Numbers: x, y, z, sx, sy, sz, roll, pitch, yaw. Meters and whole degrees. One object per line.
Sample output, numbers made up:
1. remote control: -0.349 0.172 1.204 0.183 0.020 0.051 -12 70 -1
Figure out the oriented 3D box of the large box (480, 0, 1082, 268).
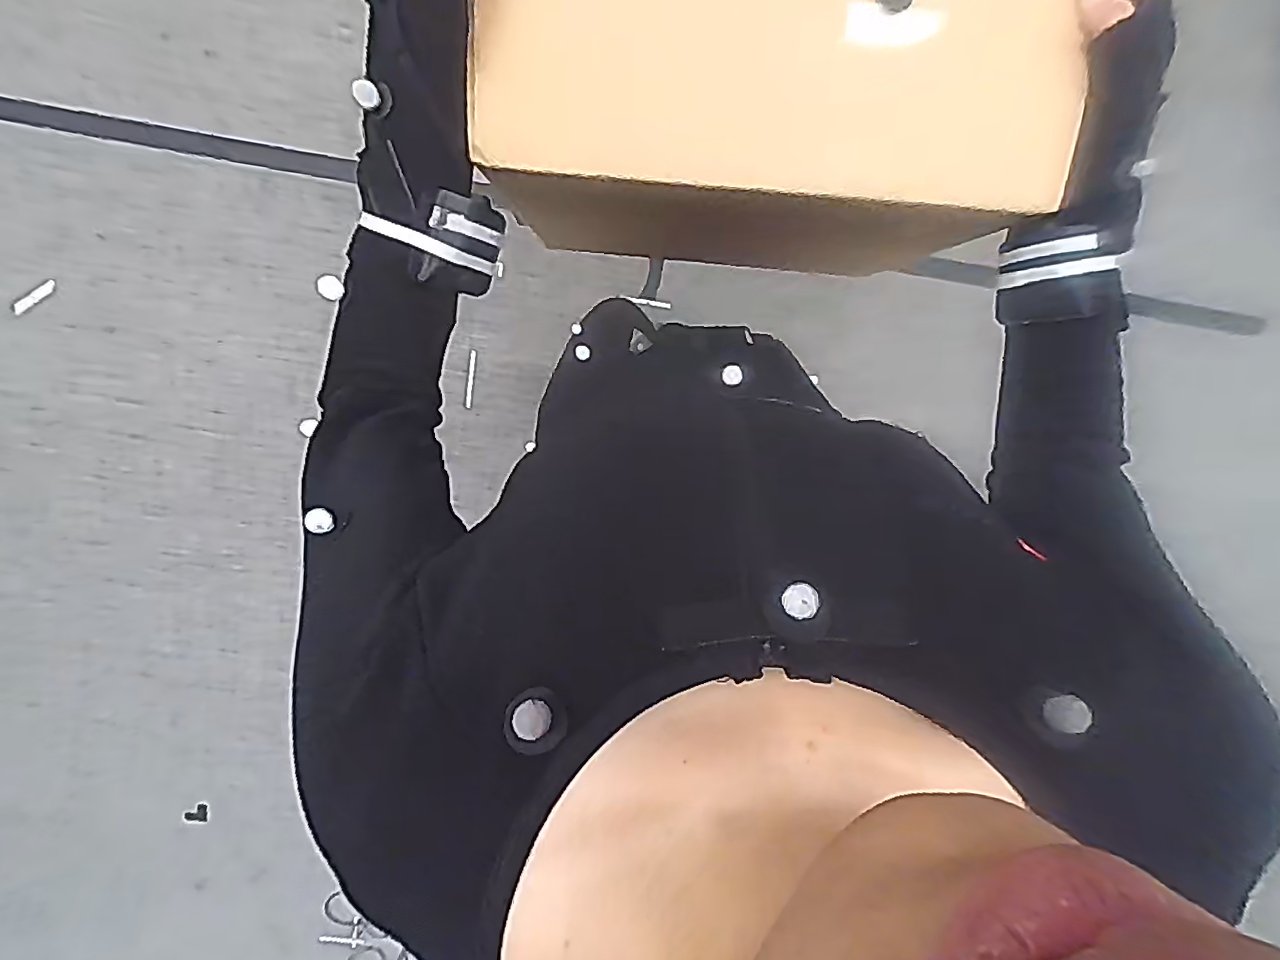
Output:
1. large box: 0.093 -0.391 0.492 0.408 0.320 0.320 4 103 -2
